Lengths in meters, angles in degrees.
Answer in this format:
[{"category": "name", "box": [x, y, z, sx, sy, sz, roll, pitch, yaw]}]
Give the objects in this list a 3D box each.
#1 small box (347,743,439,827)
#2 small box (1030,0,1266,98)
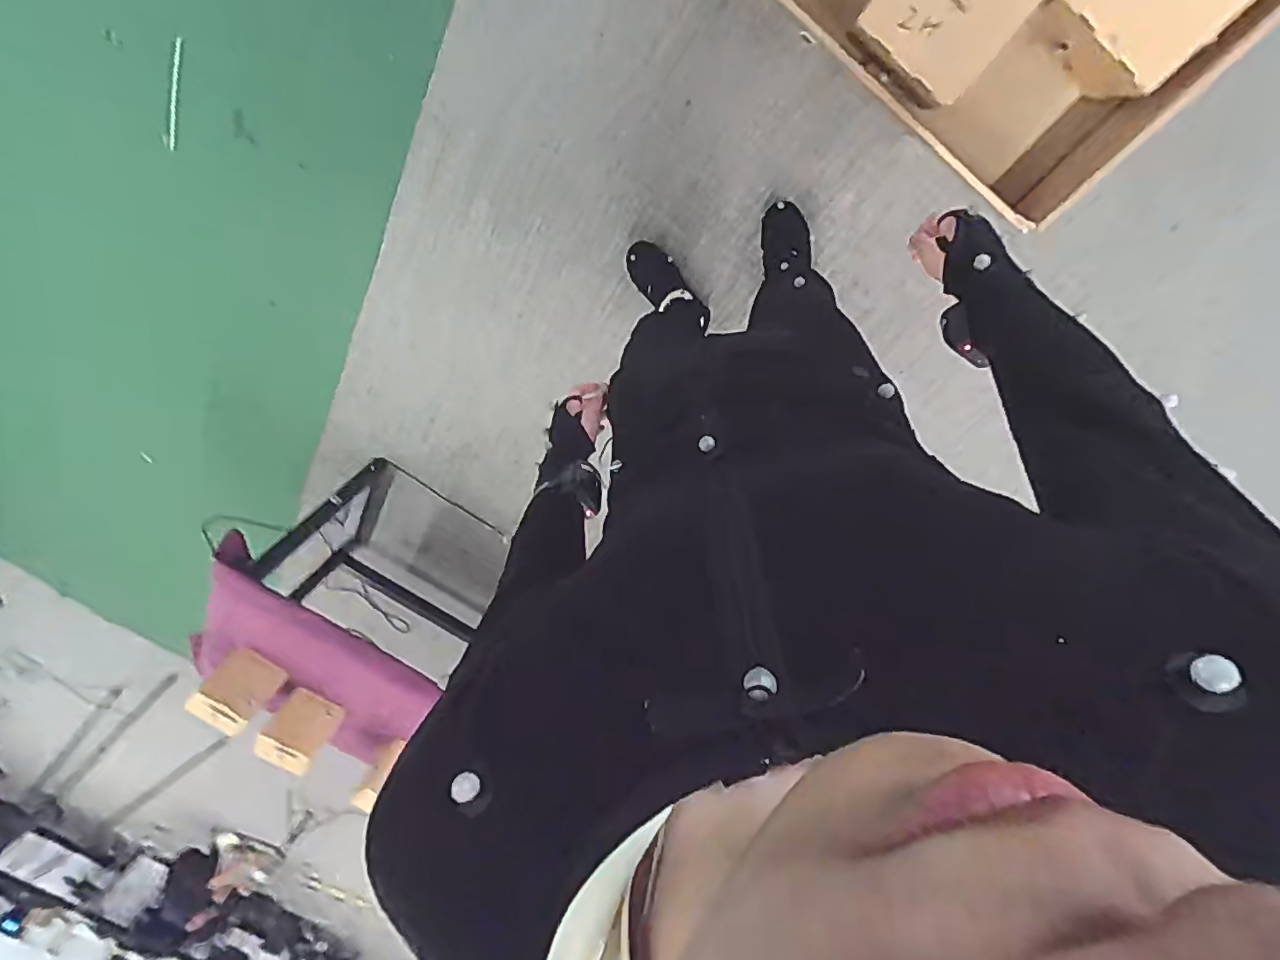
[{"category": "small box", "box": [-0.793, 0.975, 1.746, 0.179, 0.176, 0.168, 42, 124, -13]}, {"category": "small box", "box": [0.636, -0.611, 0.664, 0.168, 0.176, 0.179, 37, 126, -10]}]
